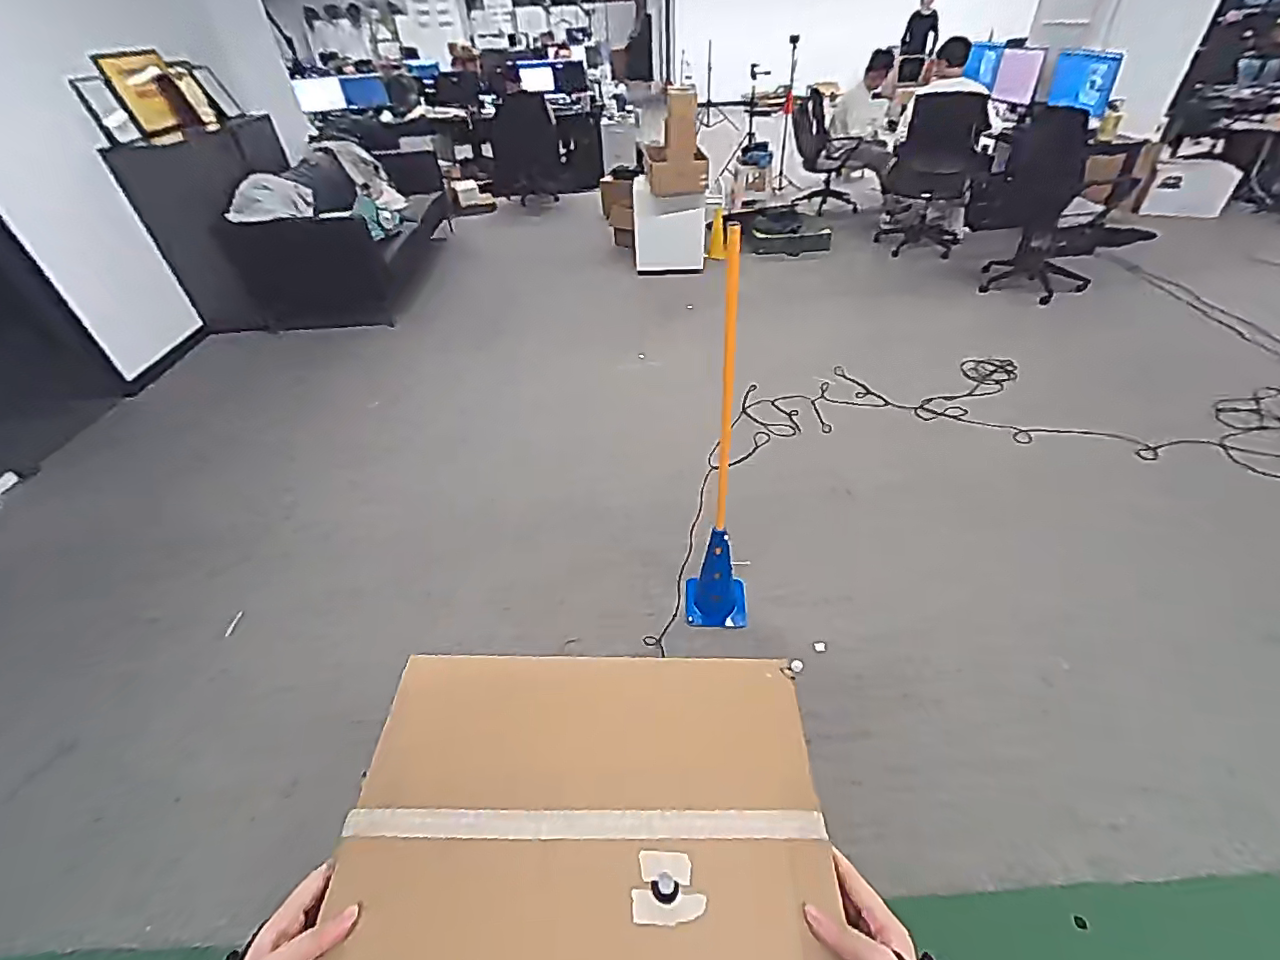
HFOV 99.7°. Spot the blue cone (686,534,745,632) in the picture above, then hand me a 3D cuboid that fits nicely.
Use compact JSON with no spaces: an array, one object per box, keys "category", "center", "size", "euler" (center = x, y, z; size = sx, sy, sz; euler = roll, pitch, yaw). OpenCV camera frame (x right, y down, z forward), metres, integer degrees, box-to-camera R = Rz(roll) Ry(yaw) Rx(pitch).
[{"category":"blue cone","center":[0.246,0.305,1.723],"size":[0.193,0.380,0.192],"euler":[1,41,6]}]

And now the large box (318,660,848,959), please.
[{"category":"large box","center":[-0.047,0.409,0.570],"size":[0.408,0.320,0.320],"euler":[1,43,-1]}]
